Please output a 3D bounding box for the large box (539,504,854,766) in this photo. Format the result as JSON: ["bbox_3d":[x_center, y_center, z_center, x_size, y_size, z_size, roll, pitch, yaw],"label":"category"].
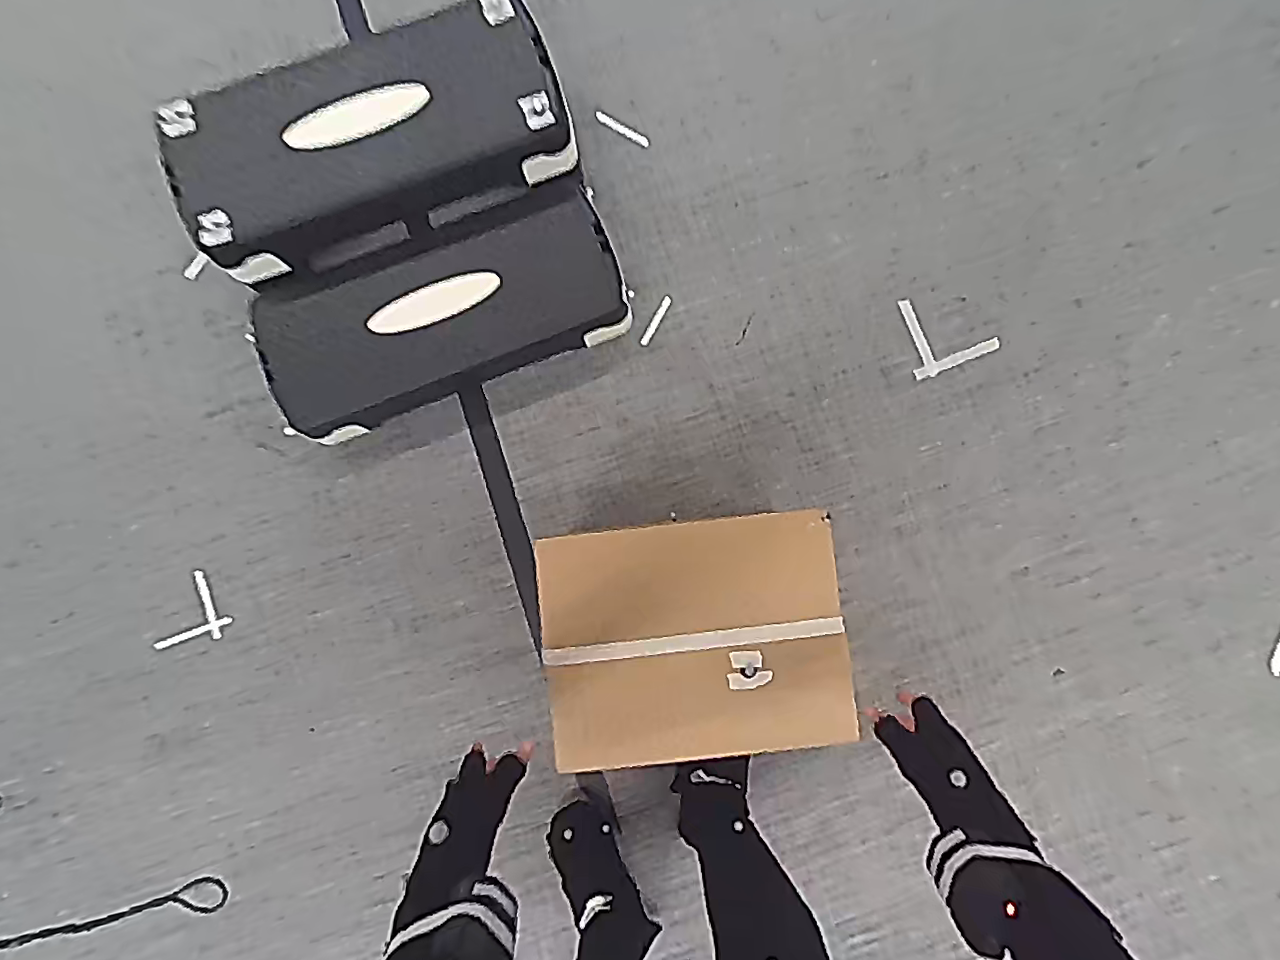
[{"bbox_3d":[0.075,0.221,0.887,0.408,0.320,0.320,-7,86,0],"label":"large box"}]

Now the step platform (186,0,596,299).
[{"bbox_3d":[-0.436,-0.601,0.996,0.684,0.204,0.286,-21,87,-1],"label":"step platform"}]
